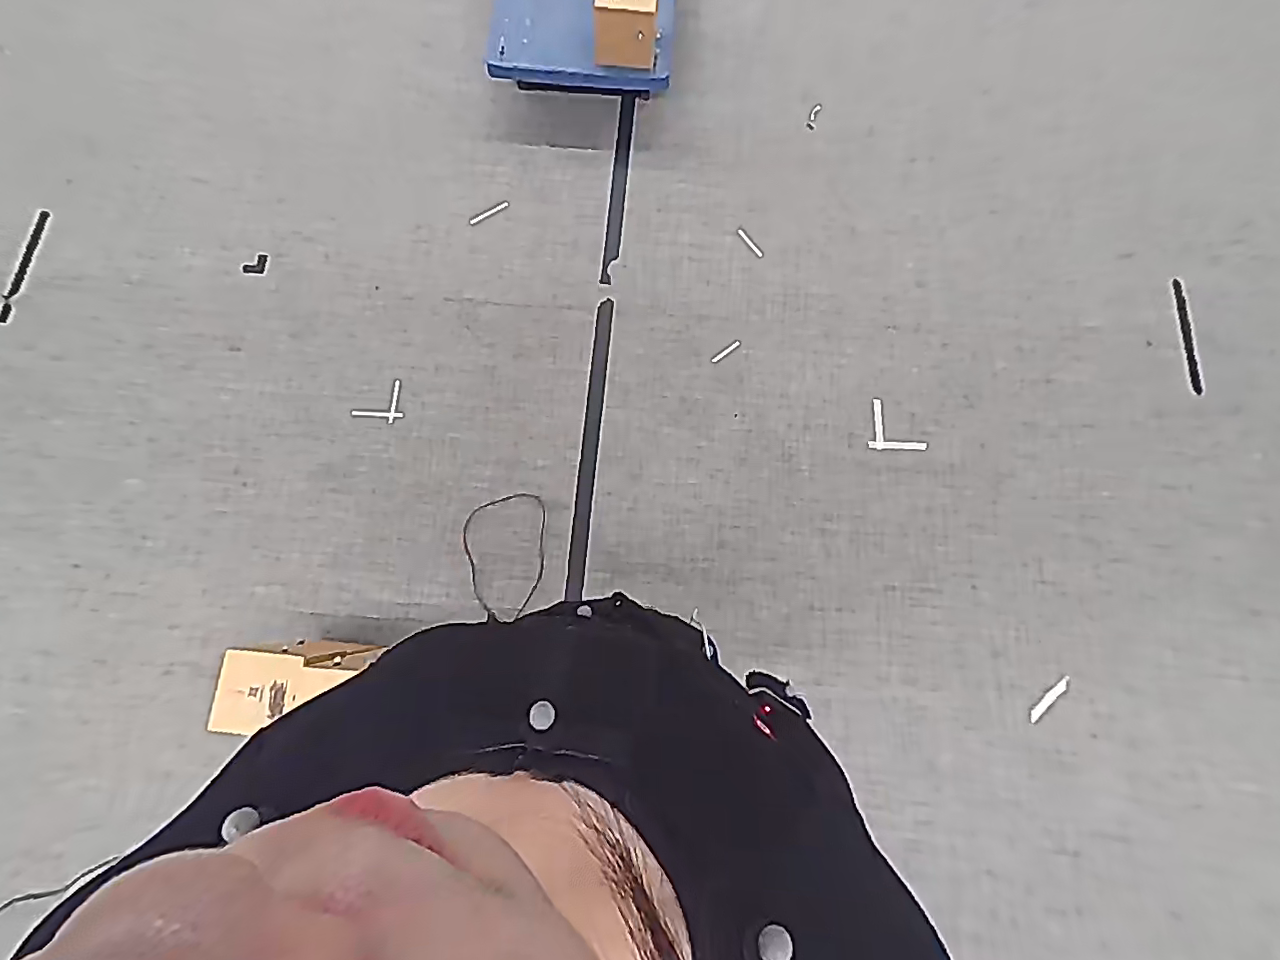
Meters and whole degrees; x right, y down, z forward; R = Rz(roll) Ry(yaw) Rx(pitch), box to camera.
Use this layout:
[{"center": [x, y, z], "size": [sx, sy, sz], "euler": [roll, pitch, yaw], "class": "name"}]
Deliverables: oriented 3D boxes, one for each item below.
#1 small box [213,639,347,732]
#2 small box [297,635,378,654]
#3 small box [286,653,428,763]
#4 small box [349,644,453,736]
[{"center": [-0.799, 0.455, 1.221], "size": [0.179, 0.176, 0.168], "euler": [5, 78, 2], "class": "small box"}, {"center": [-0.800, 0.493, 1.381], "size": [0.179, 0.176, 0.168], "euler": [6, 78, 2], "class": "small box"}, {"center": [-0.541, 0.436, 1.058], "size": [0.179, 0.176, 0.168], "euler": [5, 78, -1], "class": "small box"}, {"center": [-0.546, 0.467, 1.221], "size": [0.179, 0.176, 0.168], "euler": [4, 78, 0], "class": "small box"}]
